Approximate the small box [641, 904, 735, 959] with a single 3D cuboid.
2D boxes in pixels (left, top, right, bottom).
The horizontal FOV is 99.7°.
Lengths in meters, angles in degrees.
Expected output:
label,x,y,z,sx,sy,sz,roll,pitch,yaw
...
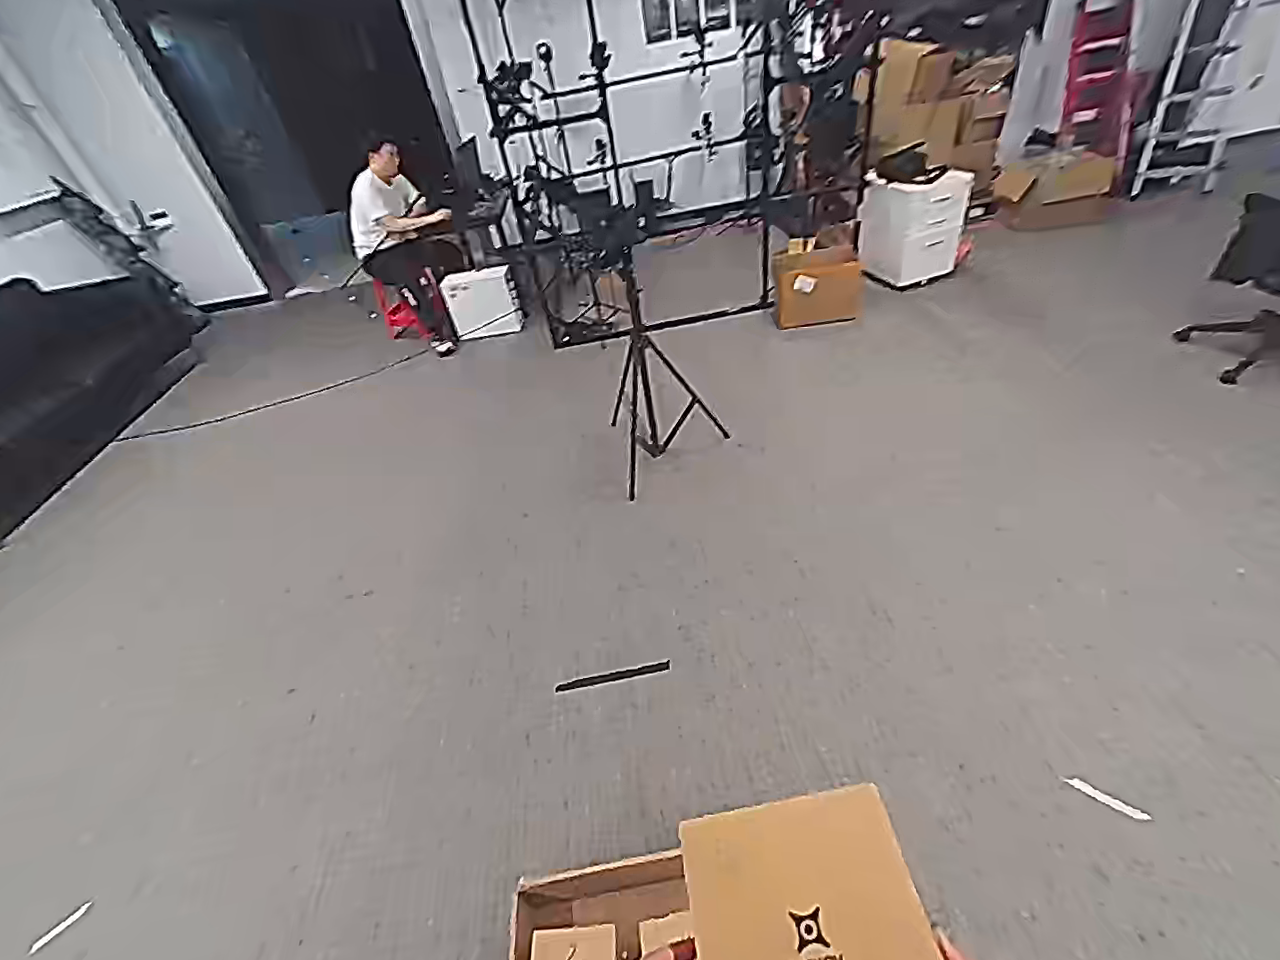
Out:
label,x,y,z,sx,sy,sz,roll,pitch,yaw
small box,0.105,0.954,1.036,0.168,0.176,0.179,-12,40,-1
